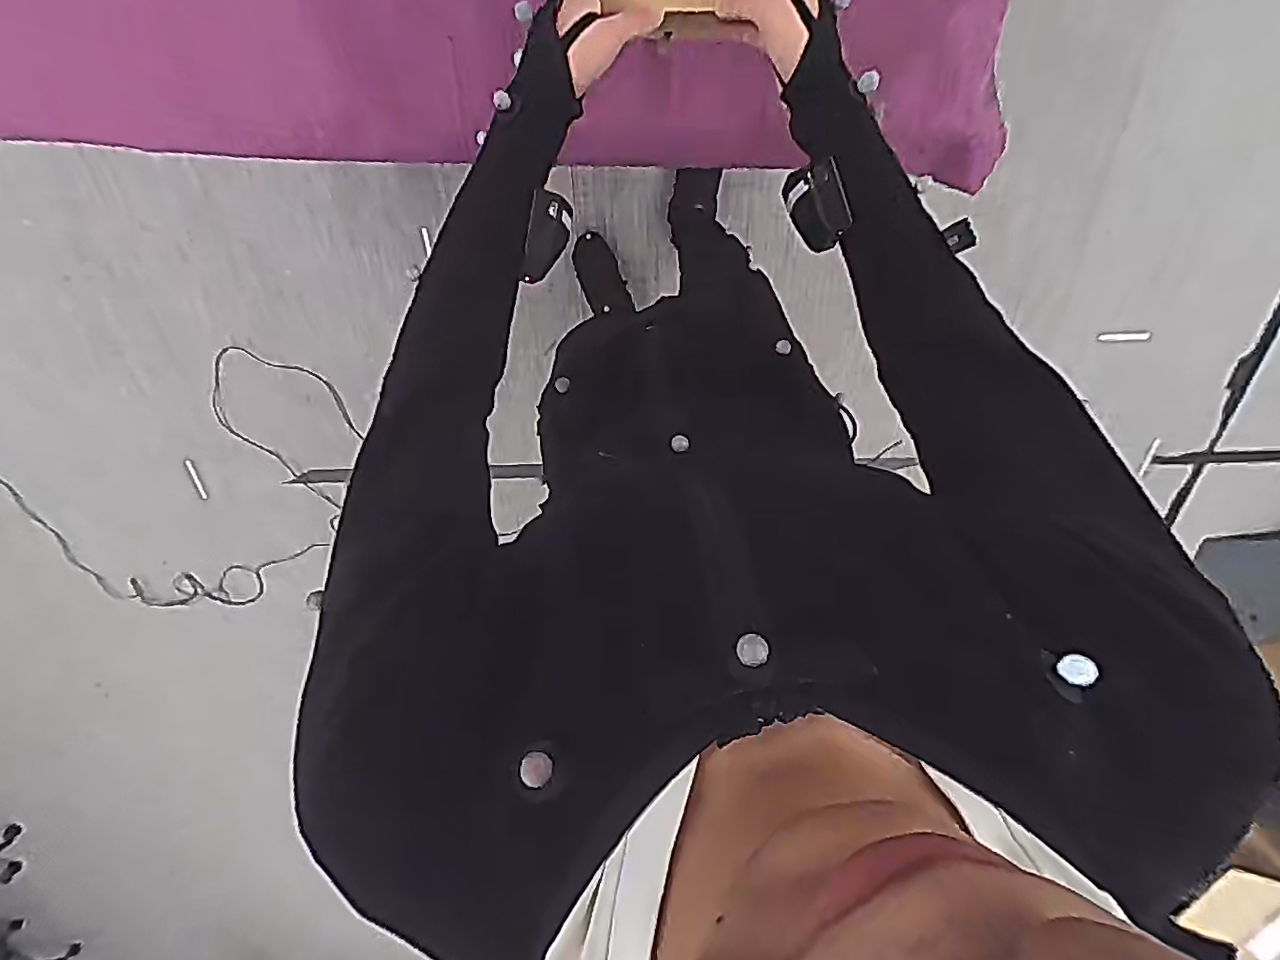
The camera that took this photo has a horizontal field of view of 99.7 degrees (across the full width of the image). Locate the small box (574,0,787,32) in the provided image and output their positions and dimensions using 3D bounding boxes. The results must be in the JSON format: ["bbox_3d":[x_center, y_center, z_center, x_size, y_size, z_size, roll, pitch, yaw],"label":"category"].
[{"bbox_3d":[0.029,-0.499,0.458,0.179,0.176,0.168,-3,123,-4],"label":"small box"}]

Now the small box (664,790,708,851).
[{"bbox_3d":[0.195,1.483,2.356,0.168,0.176,0.179,1,120,-5],"label":"small box"}]

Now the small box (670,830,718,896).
[{"bbox_3d":[0.219,1.565,2.216,0.179,0.176,0.168,-5,121,-1],"label":"small box"}]

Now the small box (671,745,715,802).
[{"bbox_3d":[0.239,1.348,2.469,0.168,0.176,0.179,-12,120,3],"label":"small box"}]
